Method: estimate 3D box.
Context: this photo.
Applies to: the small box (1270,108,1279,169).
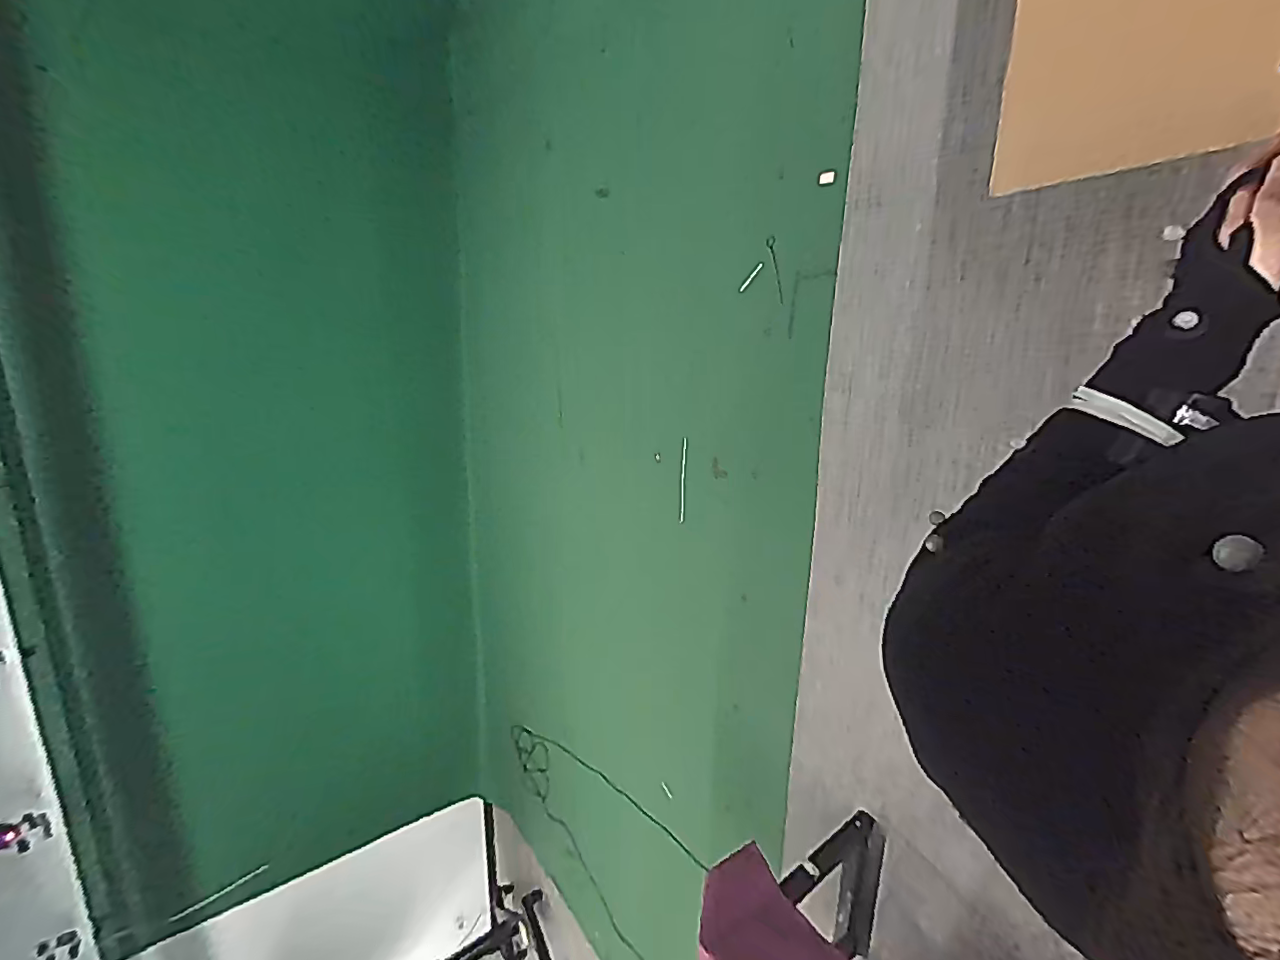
[{"bbox_3d":[0.463,-0.249,0.265,0.179,0.176,0.168,13,111,49],"label":"small box"}]
